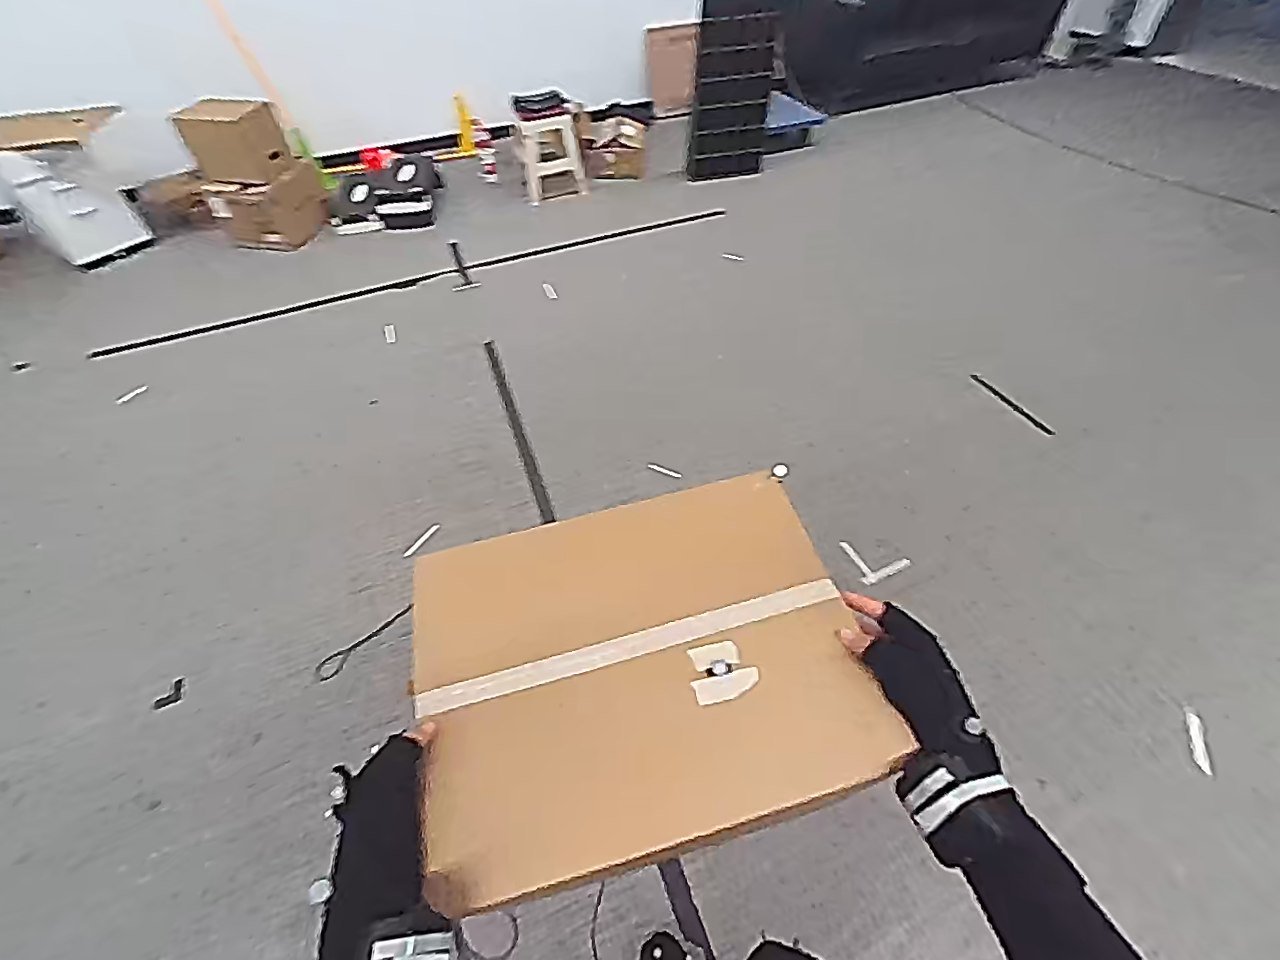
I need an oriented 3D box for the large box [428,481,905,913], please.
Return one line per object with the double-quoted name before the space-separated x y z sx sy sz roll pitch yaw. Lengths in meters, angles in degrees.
"large box" 0.006 0.255 0.643 0.408 0.320 0.320 -14 55 -7
